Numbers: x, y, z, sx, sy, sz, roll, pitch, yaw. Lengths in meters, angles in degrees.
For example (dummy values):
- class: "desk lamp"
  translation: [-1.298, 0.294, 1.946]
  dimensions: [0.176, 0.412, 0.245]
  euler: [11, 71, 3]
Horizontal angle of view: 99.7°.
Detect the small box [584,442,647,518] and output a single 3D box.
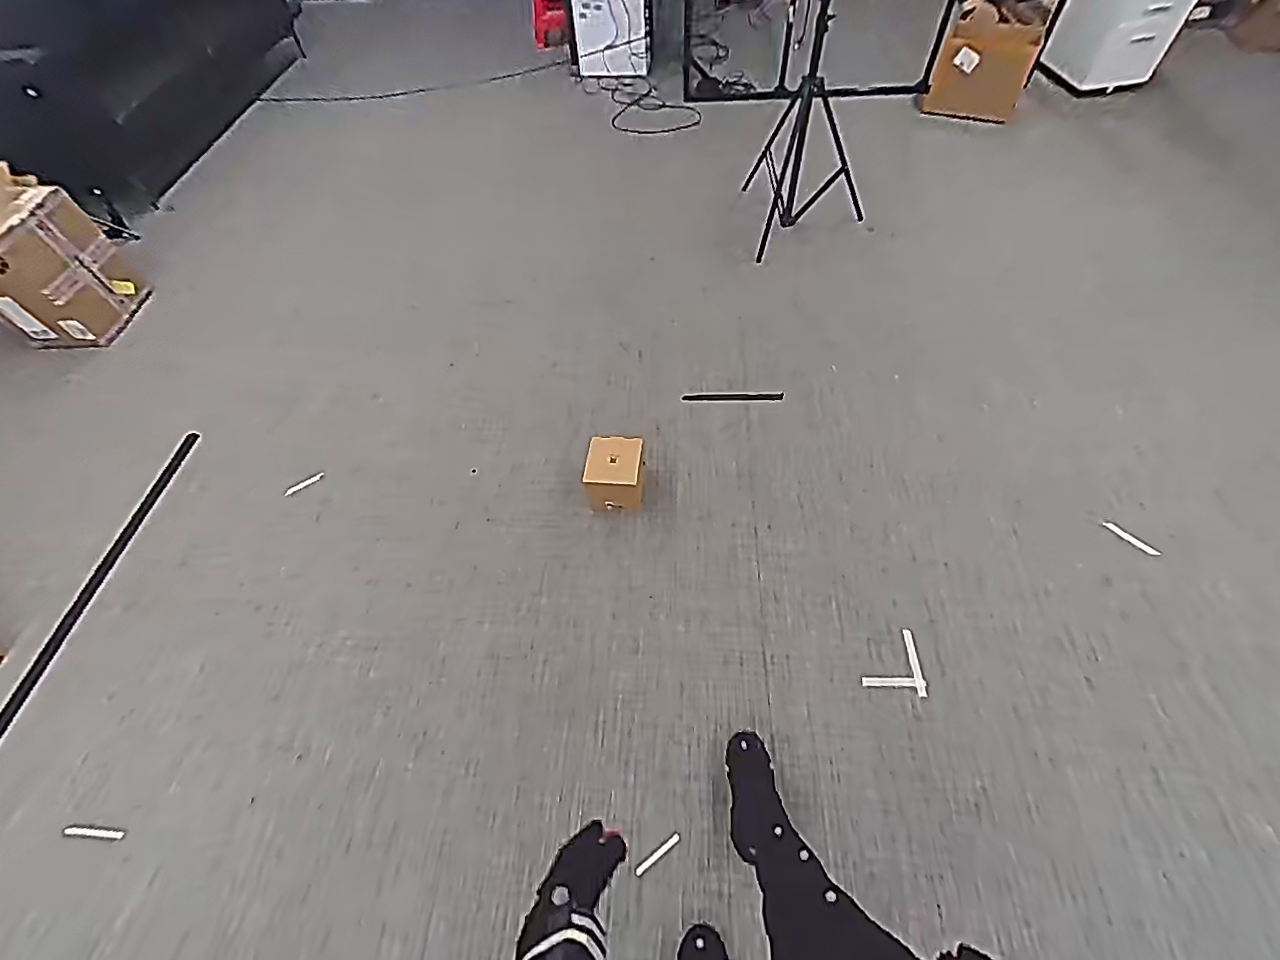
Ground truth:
- class: "small box"
  translation: [-0.070, 0.000, 1.709]
  dimensions: [0.168, 0.176, 0.179]
  euler: [2, 57, 8]
